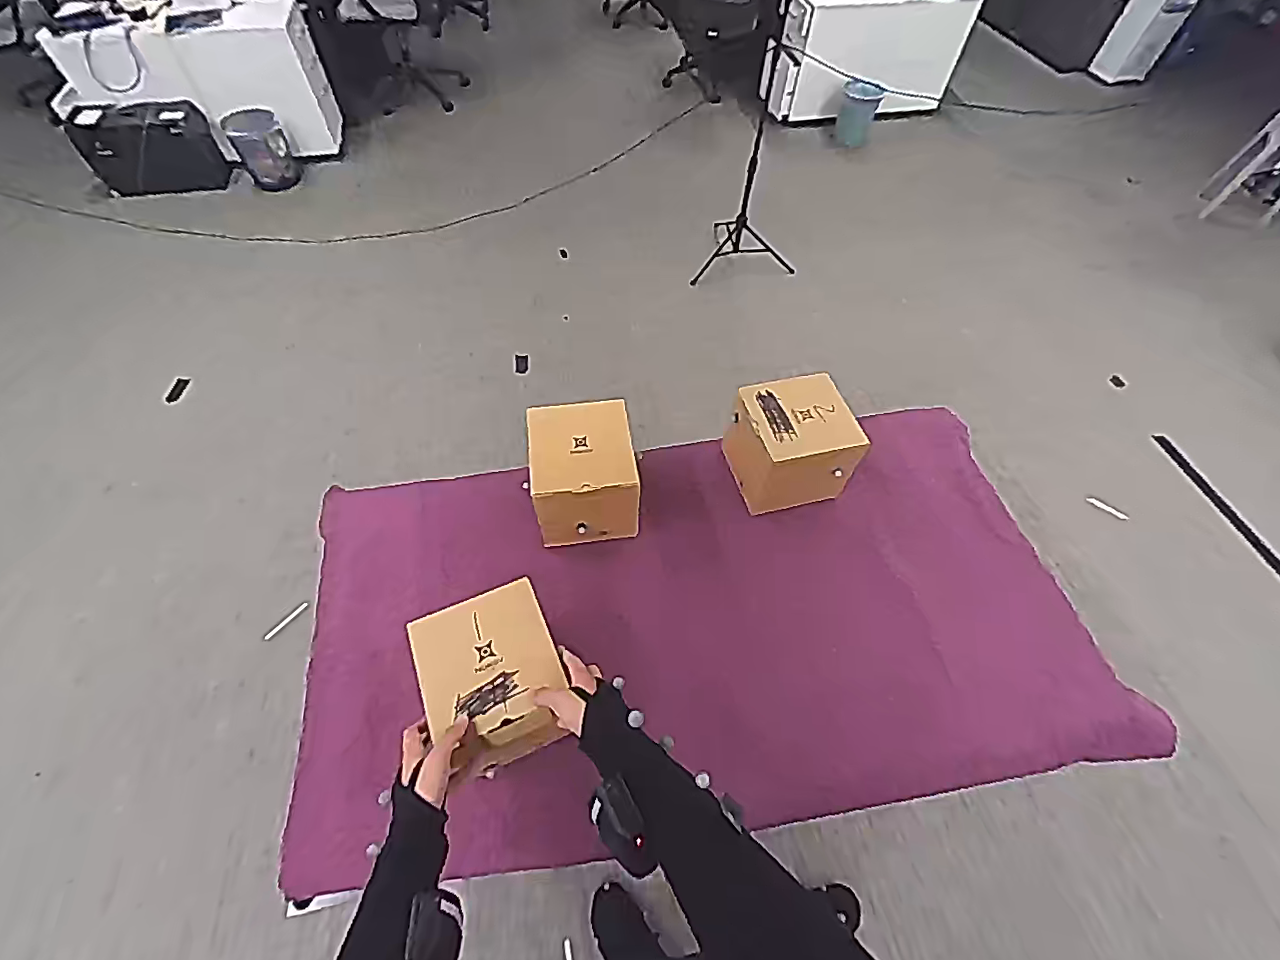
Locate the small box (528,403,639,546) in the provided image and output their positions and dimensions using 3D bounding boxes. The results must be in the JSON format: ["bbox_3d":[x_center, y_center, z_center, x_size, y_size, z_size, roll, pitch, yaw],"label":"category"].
[{"bbox_3d":[-0.098,-0.007,0.926,0.168,0.176,0.179,-7,57,-7],"label":"small box"}]

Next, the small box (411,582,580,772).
[{"bbox_3d":[-0.188,0.273,0.734,0.168,0.176,0.179,-19,55,-15],"label":"small box"}]
